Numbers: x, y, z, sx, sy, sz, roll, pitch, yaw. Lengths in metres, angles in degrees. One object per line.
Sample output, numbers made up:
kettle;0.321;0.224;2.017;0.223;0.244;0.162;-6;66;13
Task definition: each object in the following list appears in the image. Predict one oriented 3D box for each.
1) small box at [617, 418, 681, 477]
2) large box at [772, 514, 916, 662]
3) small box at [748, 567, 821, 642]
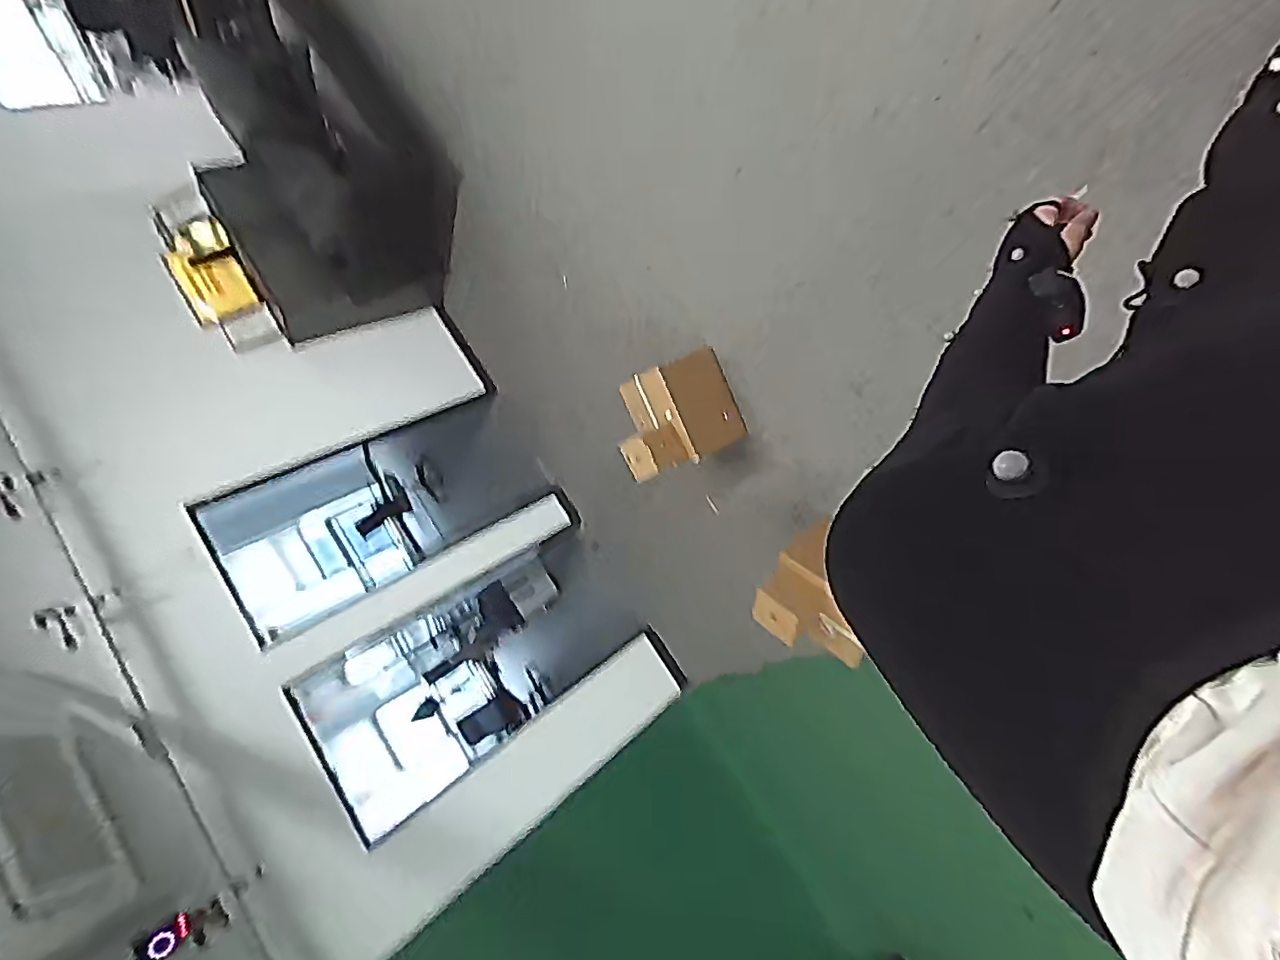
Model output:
small box;0.043;-0.133;2.188;0.179;0.176;0.168;-24;94;57
large box;0.754;0.399;2.075;0.408;0.320;0.320;35;141;33
small box;0.523;0.443;1.964;0.179;0.176;0.168;36;140;34
